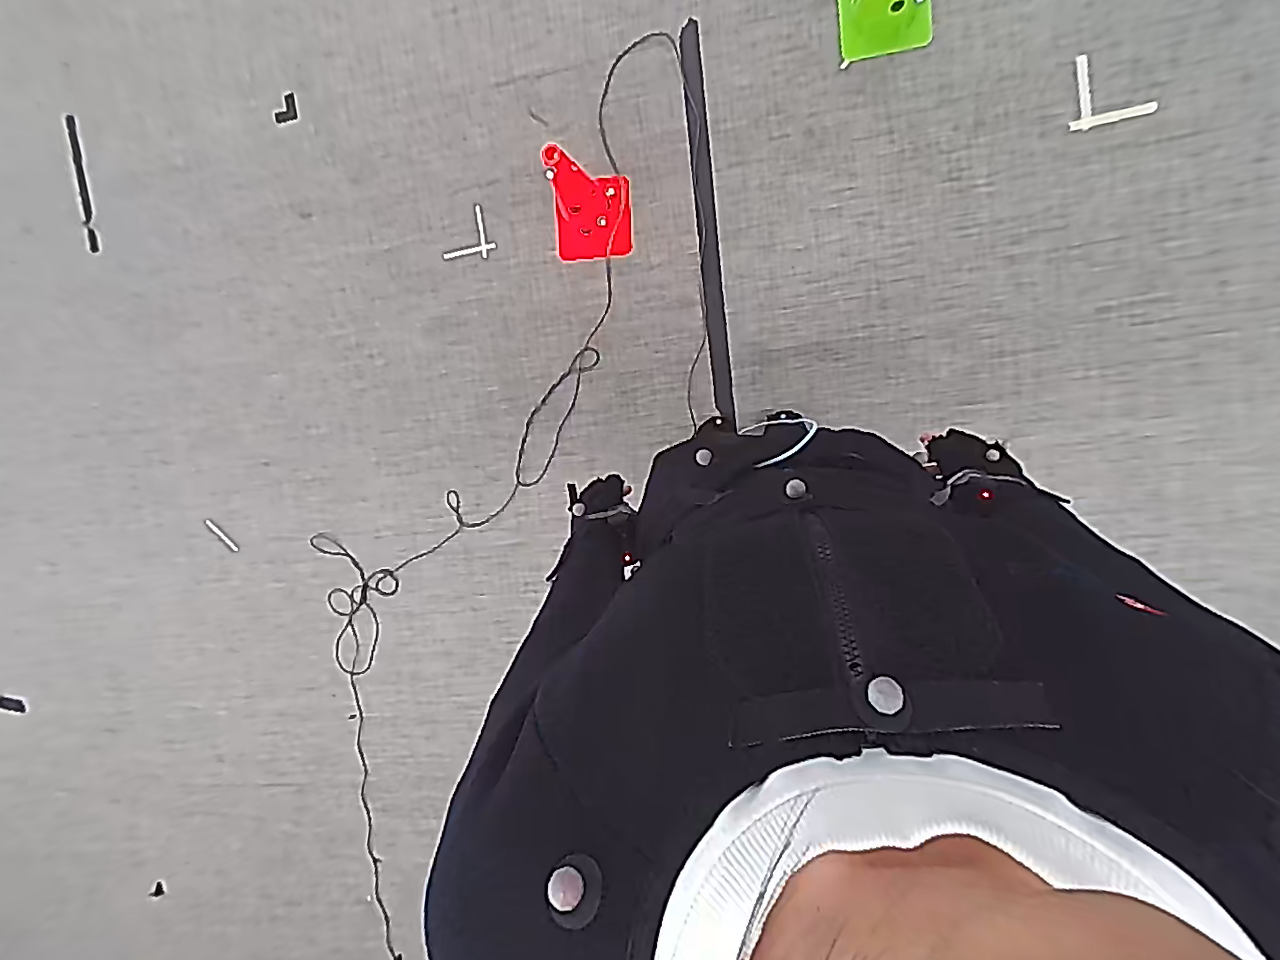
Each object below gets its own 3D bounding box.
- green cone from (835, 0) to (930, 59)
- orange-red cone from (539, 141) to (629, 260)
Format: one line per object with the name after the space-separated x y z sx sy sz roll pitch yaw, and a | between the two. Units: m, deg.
0.532 -1.068 1.074 0.202 0.368 0.200 -6 95 9 | green cone
-0.155 -0.661 1.233 0.199 0.360 0.198 -1 95 10 | orange-red cone
